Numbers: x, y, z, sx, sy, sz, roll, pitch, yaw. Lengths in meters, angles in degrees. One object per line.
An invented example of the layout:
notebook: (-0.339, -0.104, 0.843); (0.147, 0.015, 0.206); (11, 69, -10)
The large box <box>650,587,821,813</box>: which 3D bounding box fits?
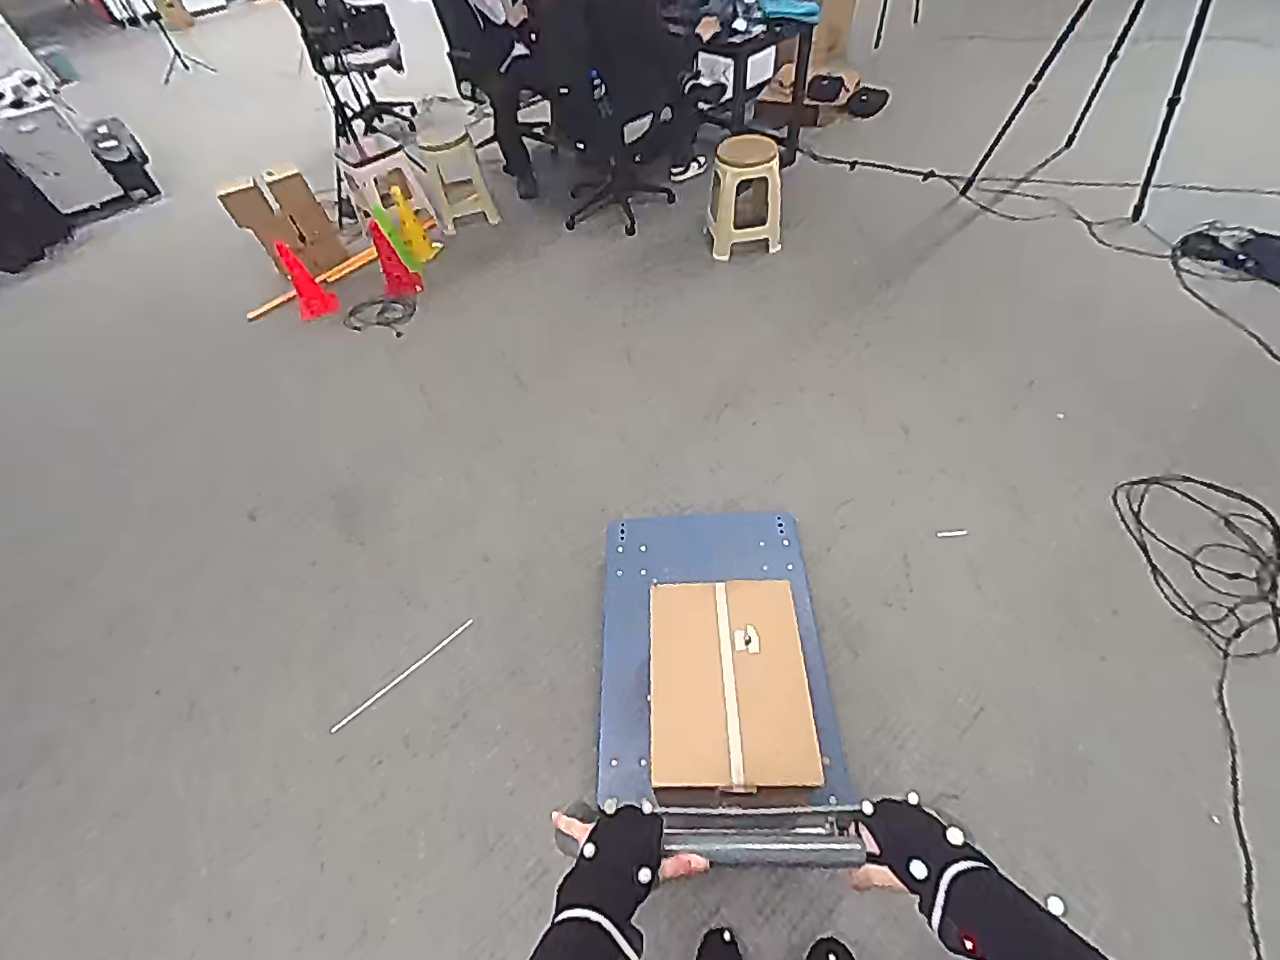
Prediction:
large box: (0.191, 0.499, 1.224); (0.320, 0.320, 0.408); (-2, 52, 4)
